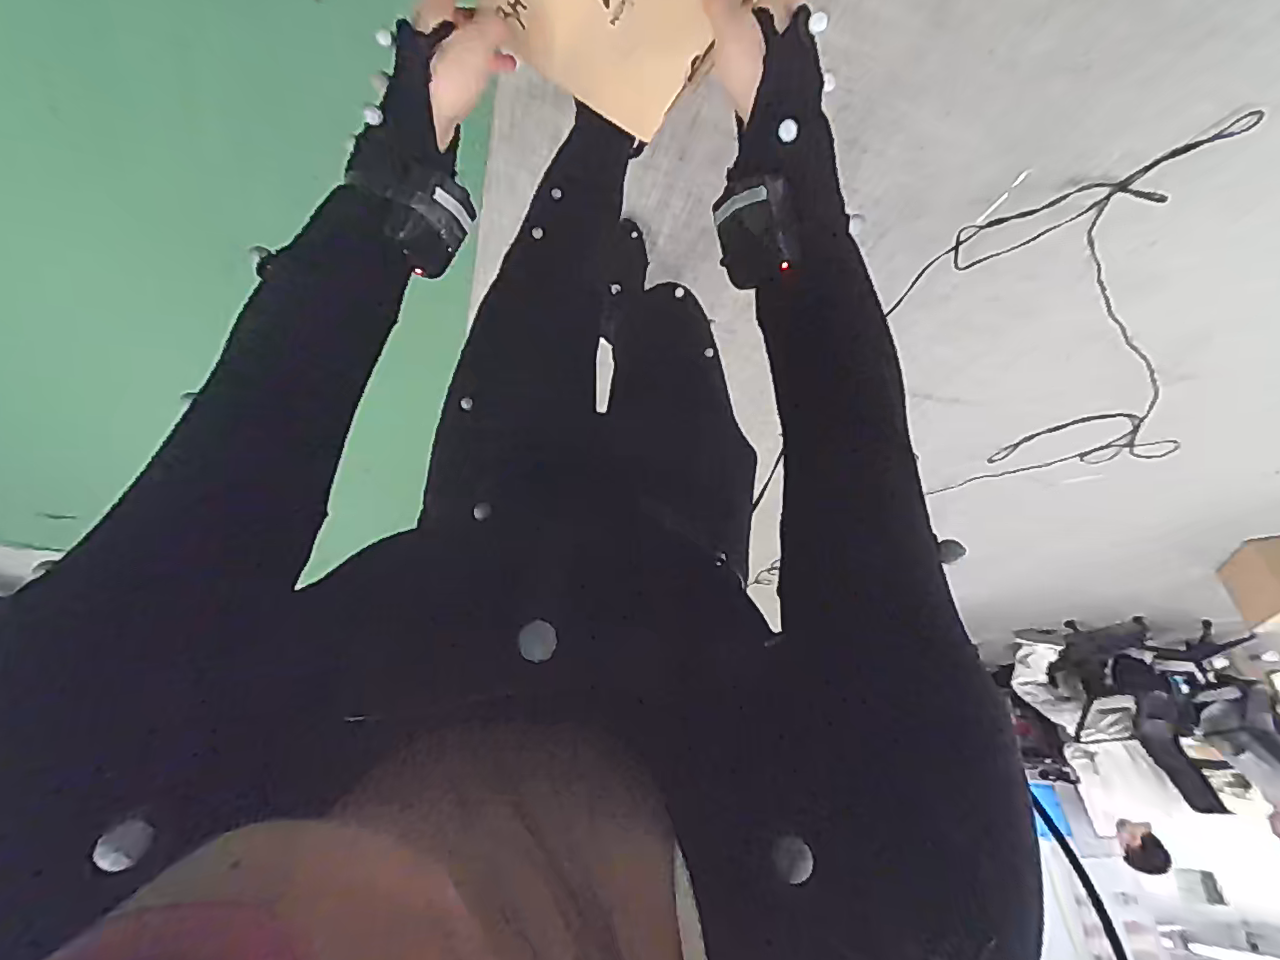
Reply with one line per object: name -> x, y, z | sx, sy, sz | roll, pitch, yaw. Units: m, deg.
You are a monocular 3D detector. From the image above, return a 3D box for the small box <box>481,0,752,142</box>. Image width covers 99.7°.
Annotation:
small box -> -0.012, -0.446, 0.454 | 0.179, 0.176, 0.168 | 18, 148, -27
